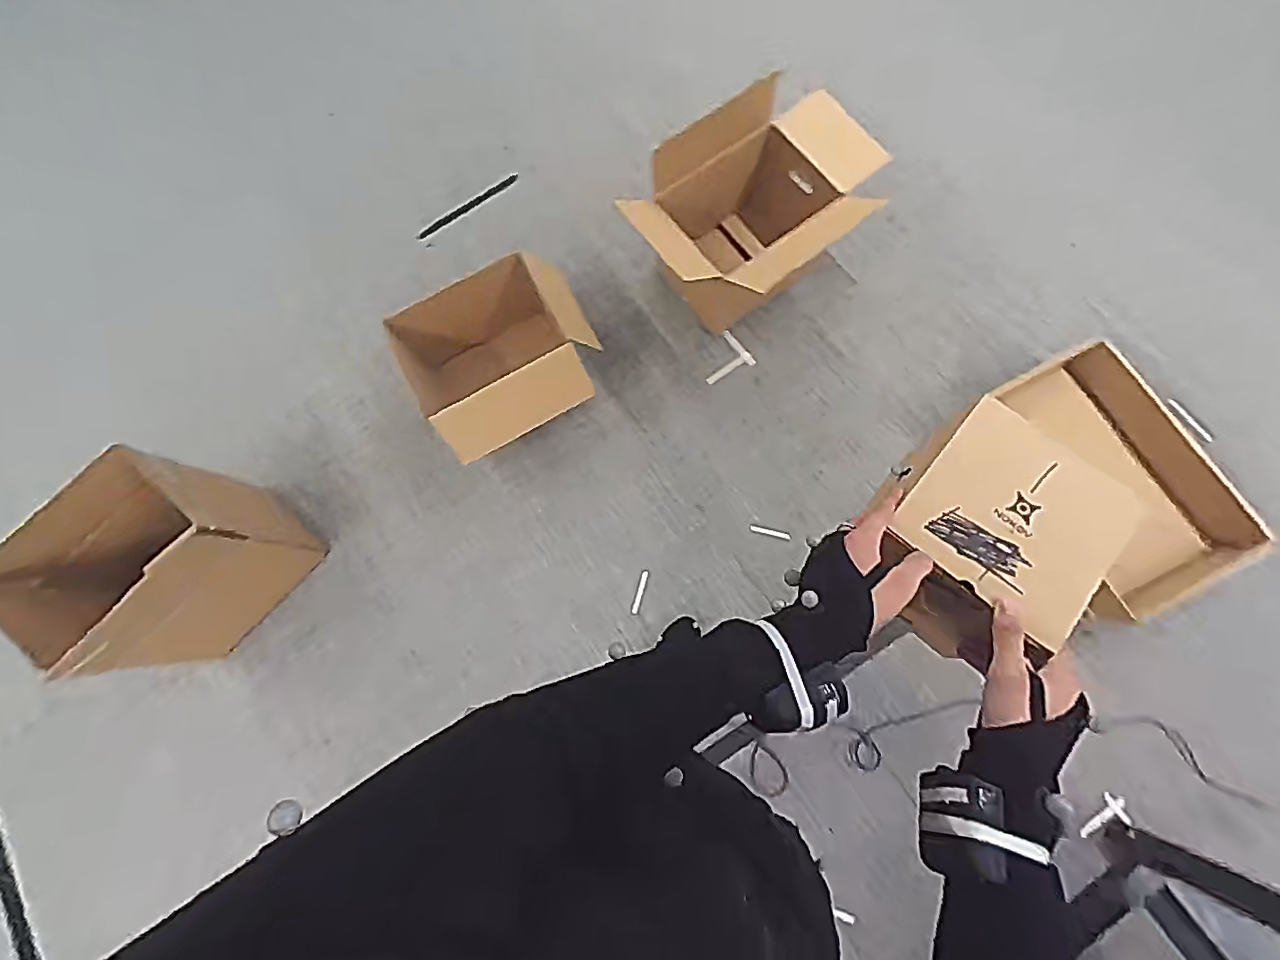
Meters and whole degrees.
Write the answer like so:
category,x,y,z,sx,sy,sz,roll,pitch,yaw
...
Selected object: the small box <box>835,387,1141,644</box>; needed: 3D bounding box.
category,x,y,z,sx,sy,sz,roll,pitch,yaw
small box,0.324,0.048,0.546,0.168,0.176,0.179,39,75,12
